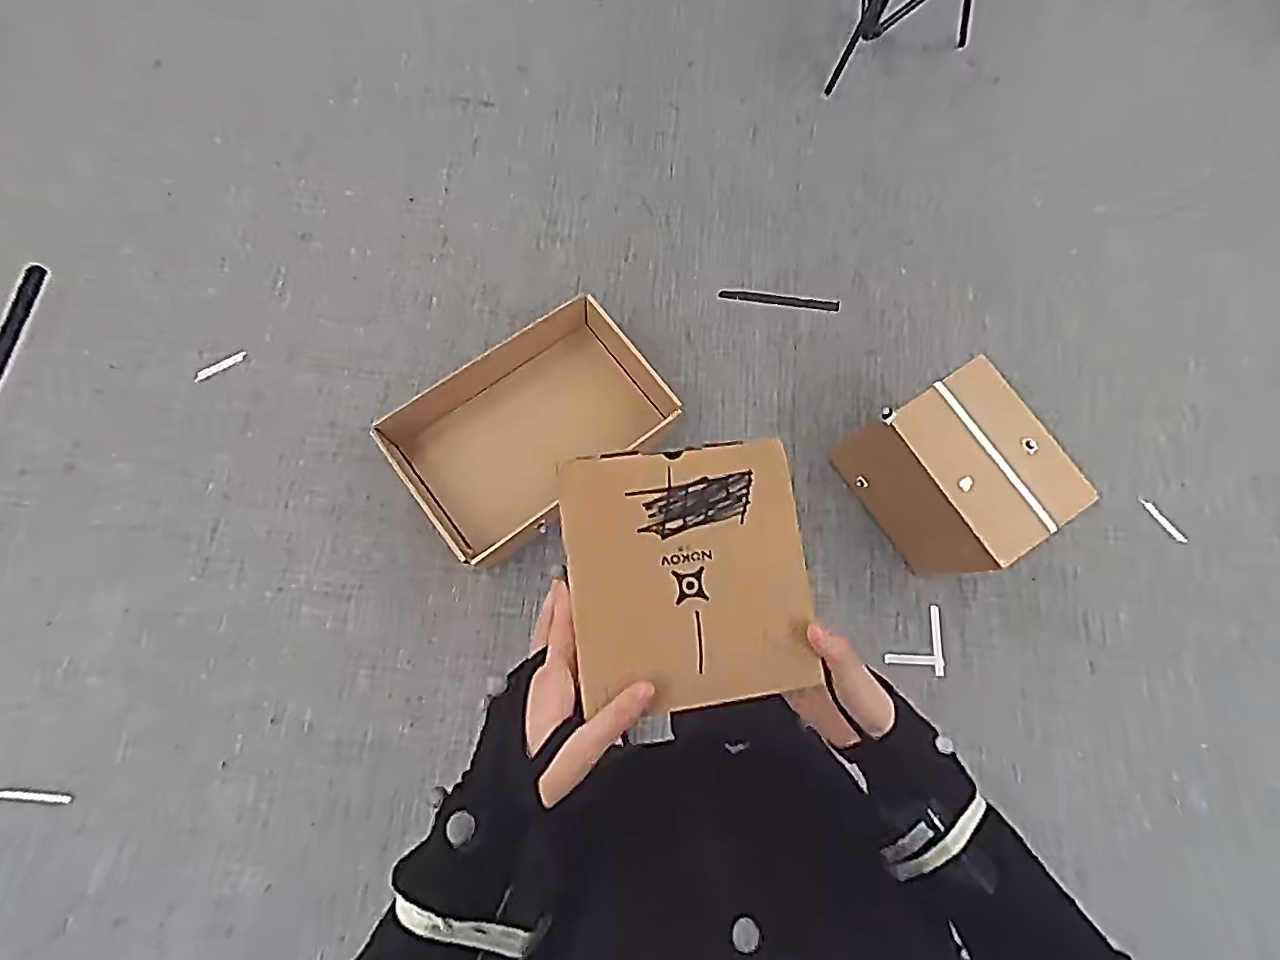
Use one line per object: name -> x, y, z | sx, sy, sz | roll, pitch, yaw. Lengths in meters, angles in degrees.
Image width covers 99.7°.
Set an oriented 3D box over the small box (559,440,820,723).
small box -> 0.023, 0.076, 0.449 | 0.168, 0.176, 0.179 | -7, 82, -9
